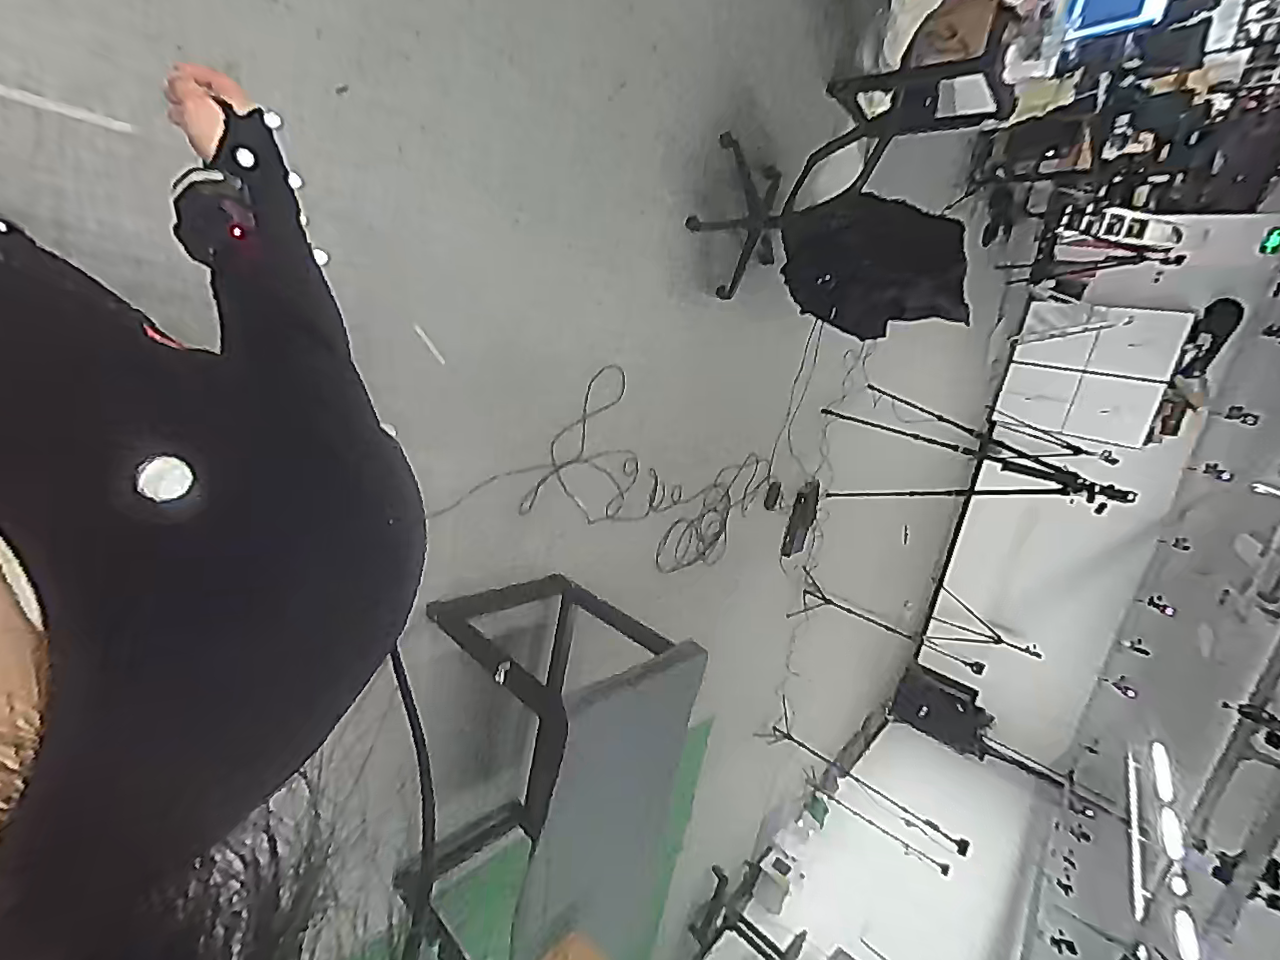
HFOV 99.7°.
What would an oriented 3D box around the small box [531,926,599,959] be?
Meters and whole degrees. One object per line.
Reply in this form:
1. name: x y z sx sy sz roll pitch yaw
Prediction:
1. small box: -0.221 1.461 1.558 0.168 0.176 0.179 3 103 -54
